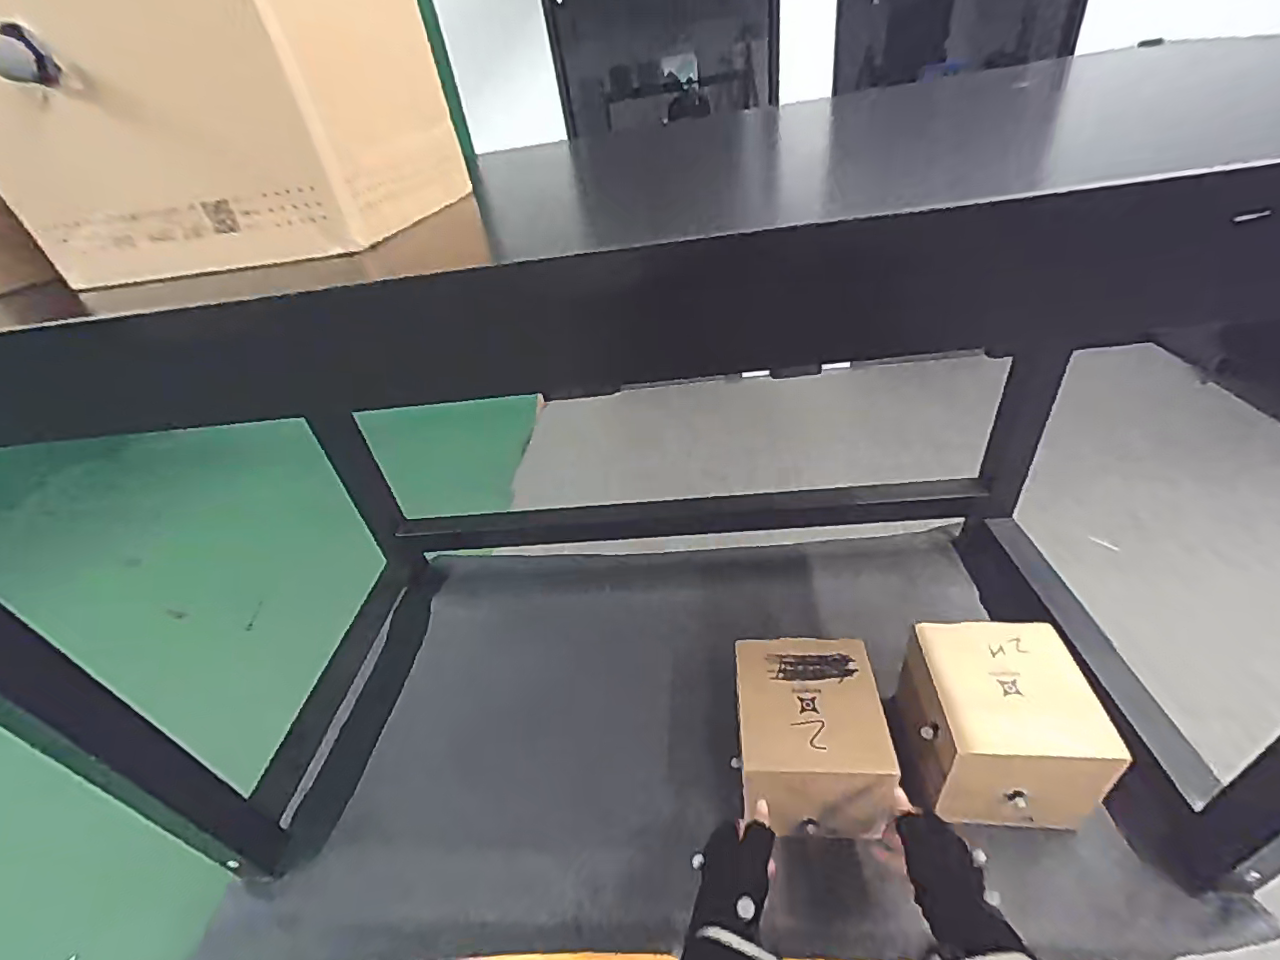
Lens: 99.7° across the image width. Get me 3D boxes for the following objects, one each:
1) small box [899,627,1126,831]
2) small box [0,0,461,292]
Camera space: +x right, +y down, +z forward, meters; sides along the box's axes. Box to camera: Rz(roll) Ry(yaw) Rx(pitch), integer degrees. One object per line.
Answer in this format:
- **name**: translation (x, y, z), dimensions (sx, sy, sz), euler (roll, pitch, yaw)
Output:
- **small box**: translation (0.438, 0.307, 0.673), dimensions (0.168, 0.176, 0.179), euler (-2, 35, 11)
- **small box**: translation (-0.223, -0.213, 0.303), dimensions (0.168, 0.176, 0.179), euler (-4, 35, 9)
